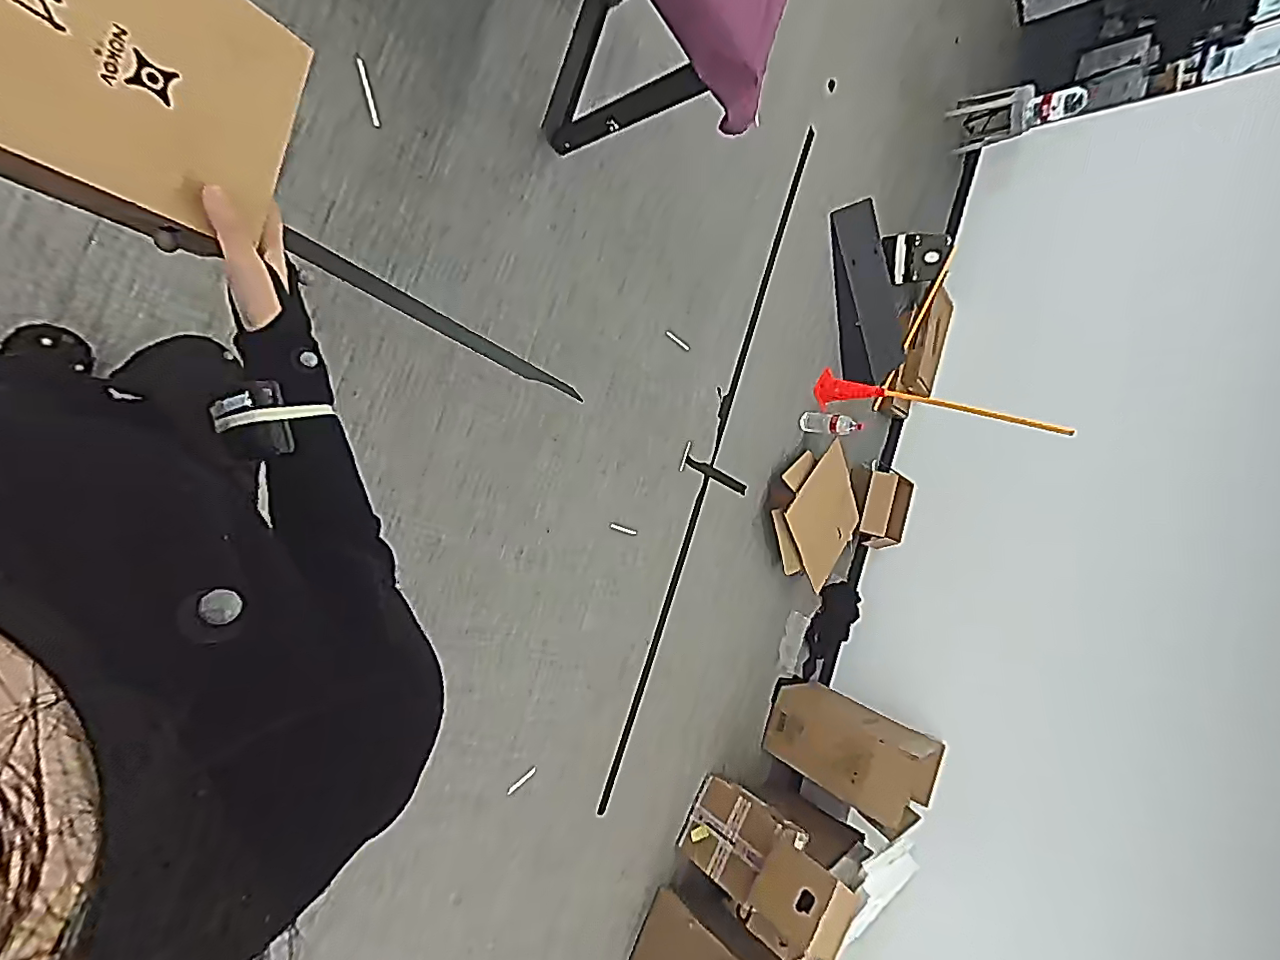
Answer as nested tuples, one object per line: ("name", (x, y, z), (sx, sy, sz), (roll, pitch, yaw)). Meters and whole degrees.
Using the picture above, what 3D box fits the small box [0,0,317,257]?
("small box", (-0.386, -0.288, 0.405), (0.179, 0.176, 0.168), (16, 92, -52))
